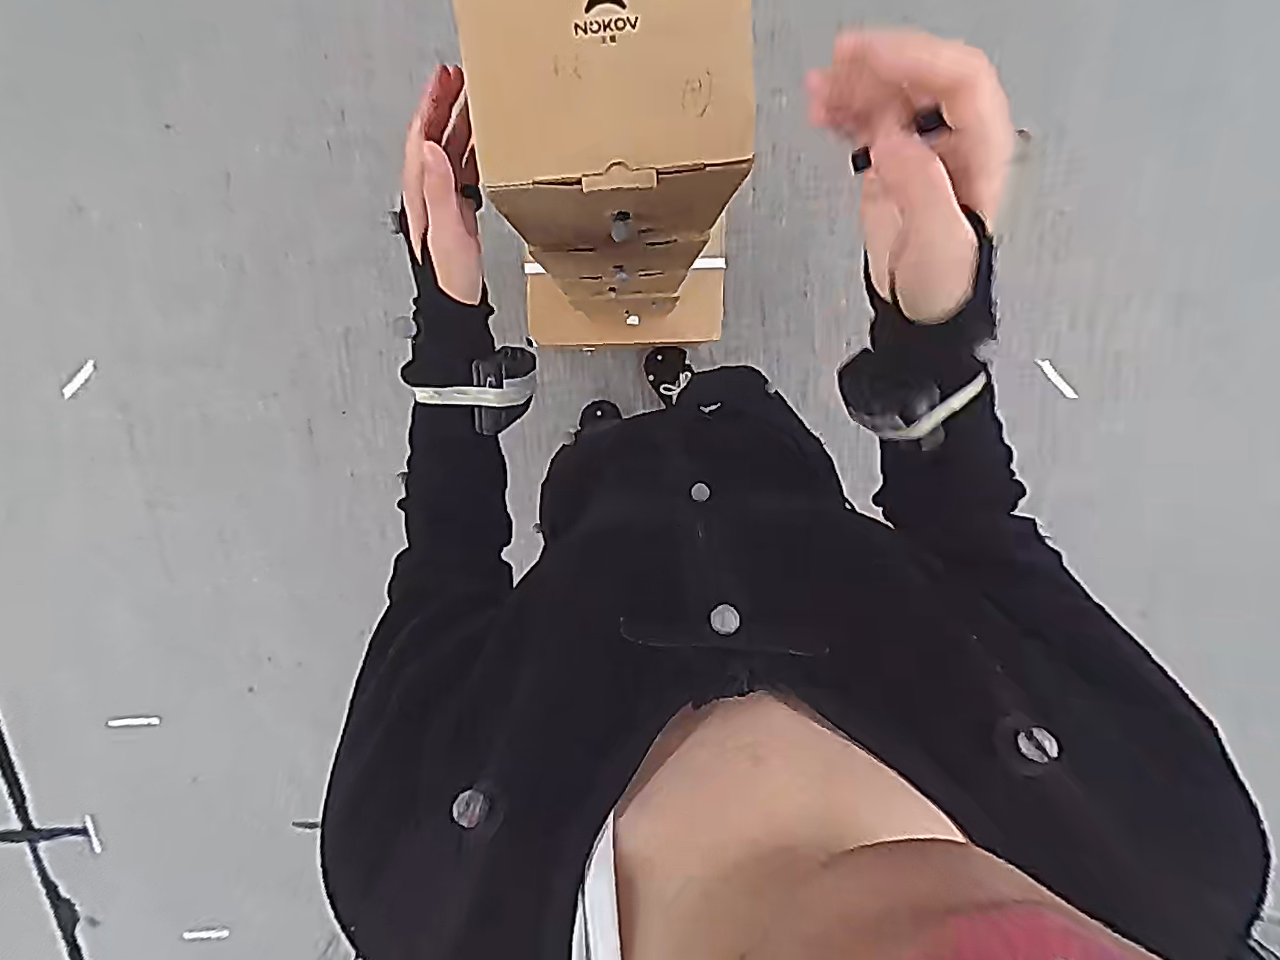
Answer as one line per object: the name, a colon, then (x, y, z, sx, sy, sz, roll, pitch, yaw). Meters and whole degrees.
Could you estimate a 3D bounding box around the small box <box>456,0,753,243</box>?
small box: (-0.022, -0.279, 0.386, 0.168, 0.176, 0.179, -7, 103, 0)

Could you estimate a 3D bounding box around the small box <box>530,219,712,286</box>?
small box: (-0.027, -0.306, 0.547, 0.168, 0.176, 0.179, -7, 102, 0)

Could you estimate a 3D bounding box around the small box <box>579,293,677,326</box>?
small box: (-0.028, -0.390, 1.032, 0.179, 0.176, 0.168, -6, 102, -1)

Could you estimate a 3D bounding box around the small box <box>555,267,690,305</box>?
small box: (-0.030, -0.336, 0.709, 0.168, 0.176, 0.179, -5, 102, -1)
